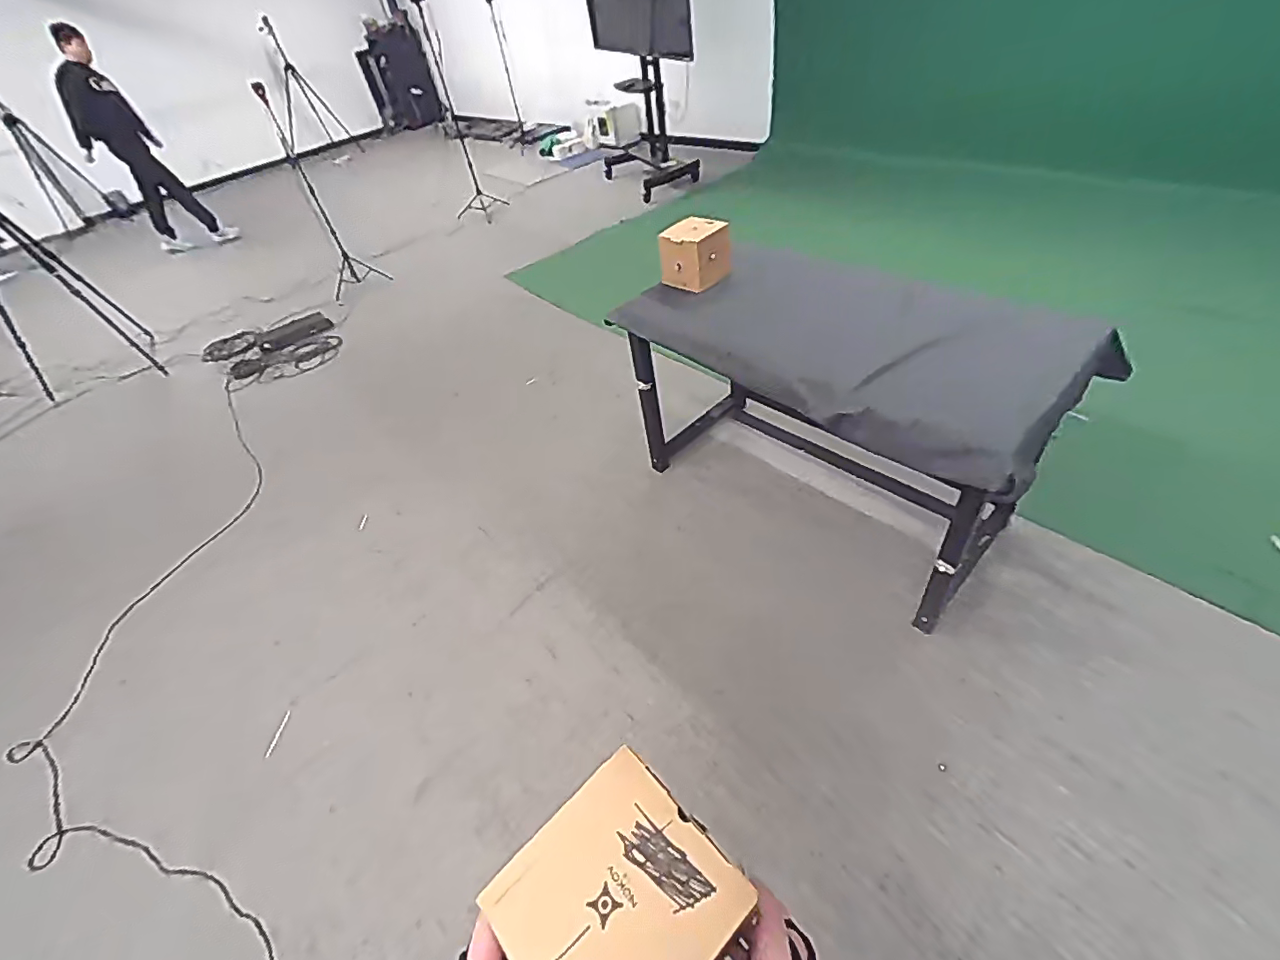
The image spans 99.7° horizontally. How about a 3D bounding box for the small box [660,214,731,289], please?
[{"bbox_3d":[0.193,-0.763,1.806,0.168,0.176,0.179,29,58,34],"label":"small box"}]
